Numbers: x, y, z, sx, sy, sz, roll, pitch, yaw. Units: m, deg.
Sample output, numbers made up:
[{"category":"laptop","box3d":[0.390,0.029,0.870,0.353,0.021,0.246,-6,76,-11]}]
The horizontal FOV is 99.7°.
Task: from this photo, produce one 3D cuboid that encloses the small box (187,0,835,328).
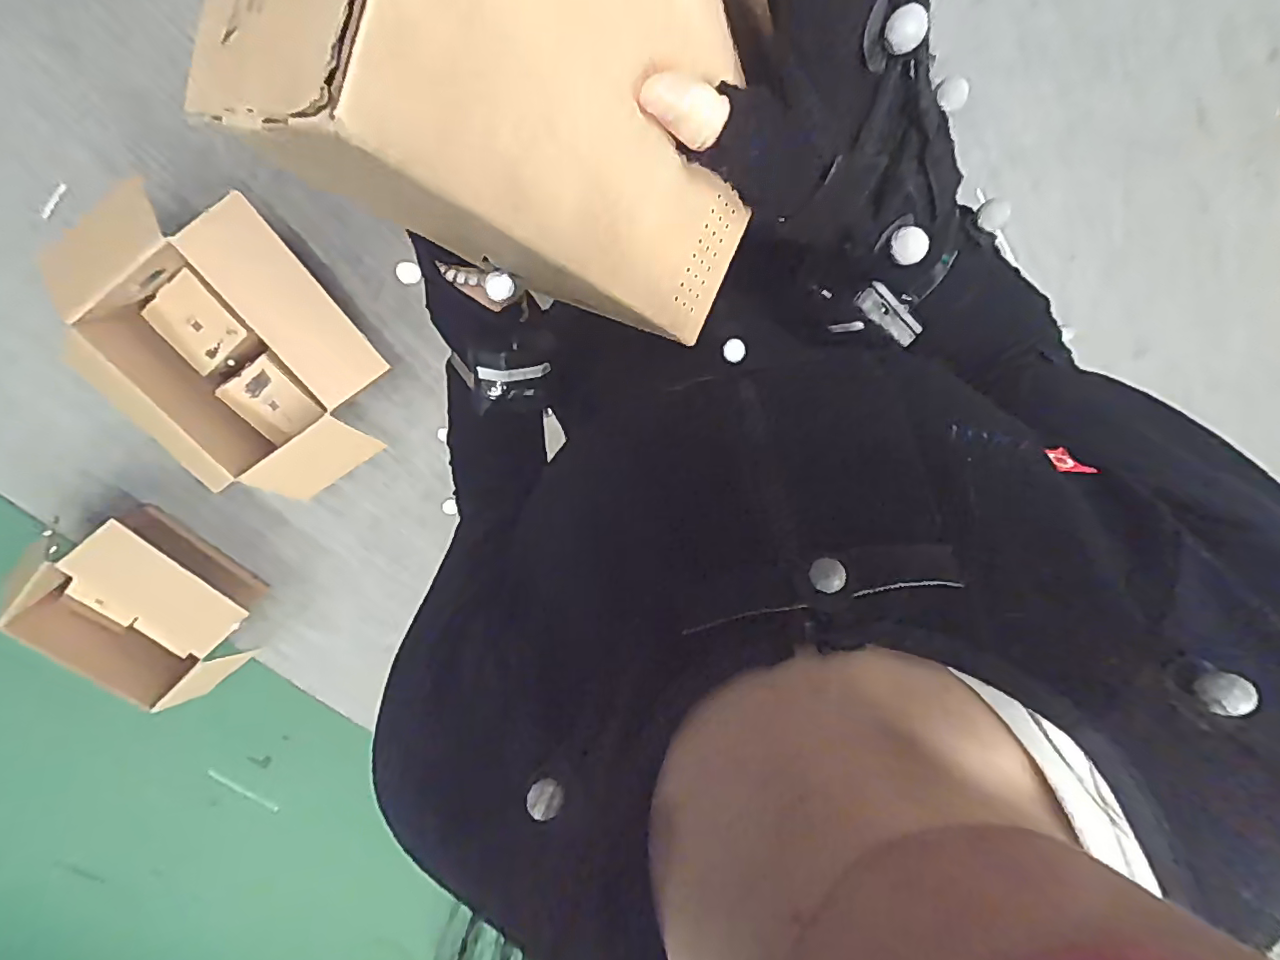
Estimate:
[{"category":"small box","box3d":[-0.043,-0.188,0.221,0.176,0.168,0.179,11,106,-52]}]
